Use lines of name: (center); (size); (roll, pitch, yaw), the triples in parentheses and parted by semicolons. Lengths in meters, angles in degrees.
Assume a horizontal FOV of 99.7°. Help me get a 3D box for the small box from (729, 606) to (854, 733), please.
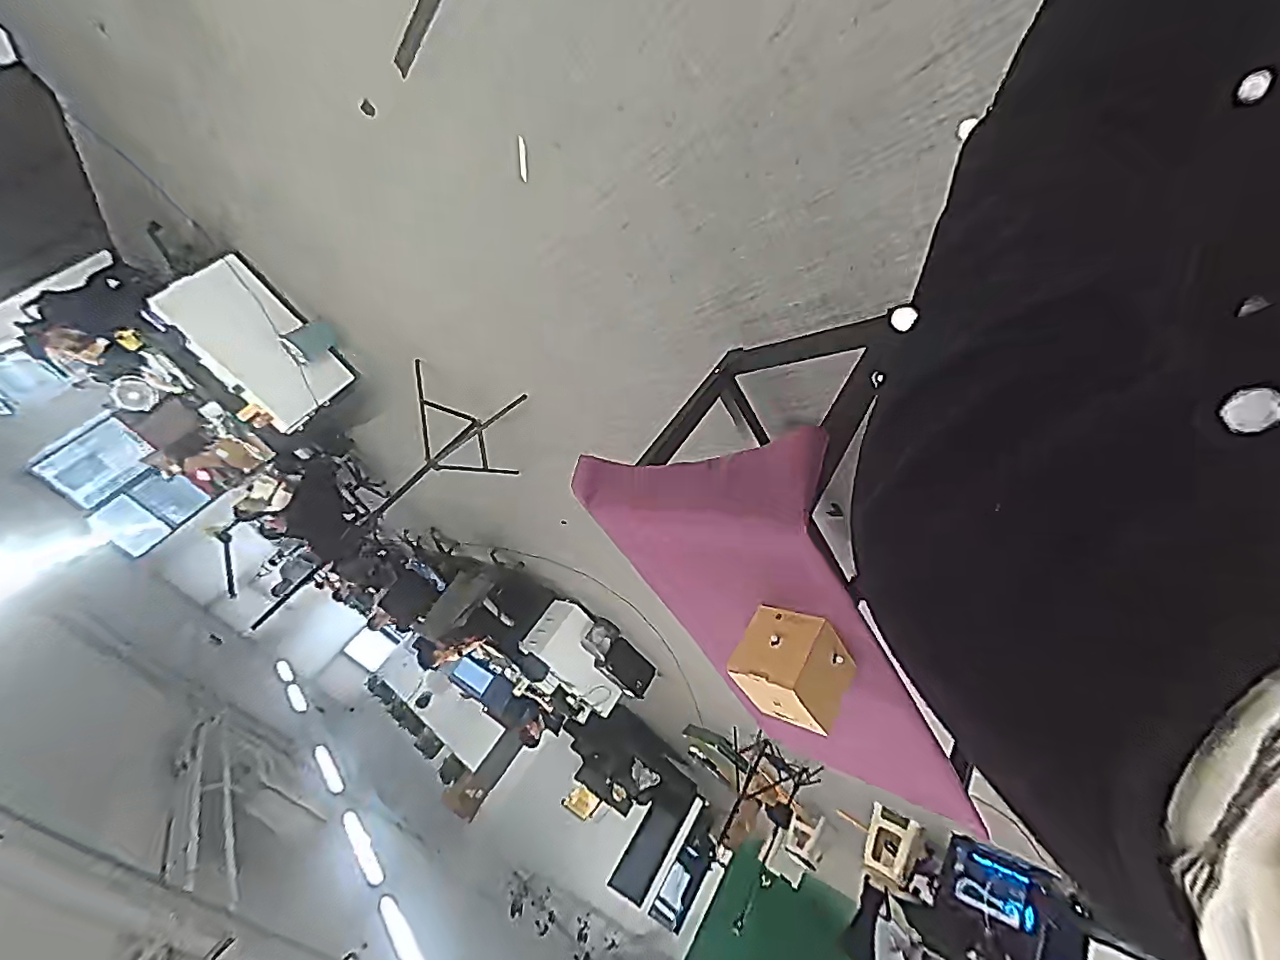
small box: (0.322, 0.388, 1.139); (0.168, 0.176, 0.179); (-1, 134, 49)
